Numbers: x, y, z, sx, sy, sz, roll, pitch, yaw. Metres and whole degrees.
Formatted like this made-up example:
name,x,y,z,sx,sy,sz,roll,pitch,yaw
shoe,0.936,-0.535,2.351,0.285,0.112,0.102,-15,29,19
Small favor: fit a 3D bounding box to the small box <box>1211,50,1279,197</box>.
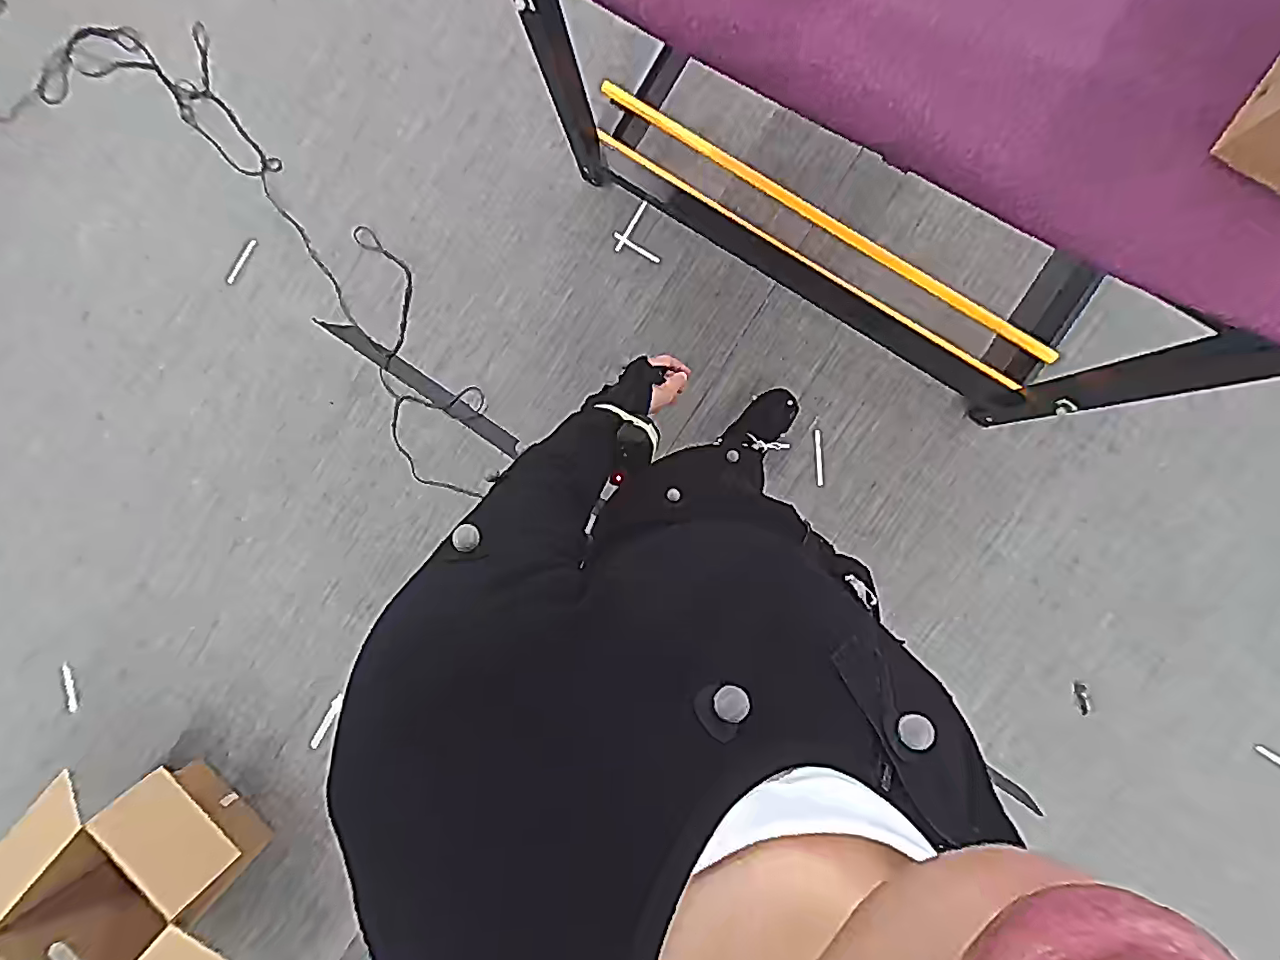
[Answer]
name,x,y,z,sx,sy,sz,roll,pitch,yaw
small box,0.717,-0.369,0.493,0.179,0.176,0.168,35,92,4
